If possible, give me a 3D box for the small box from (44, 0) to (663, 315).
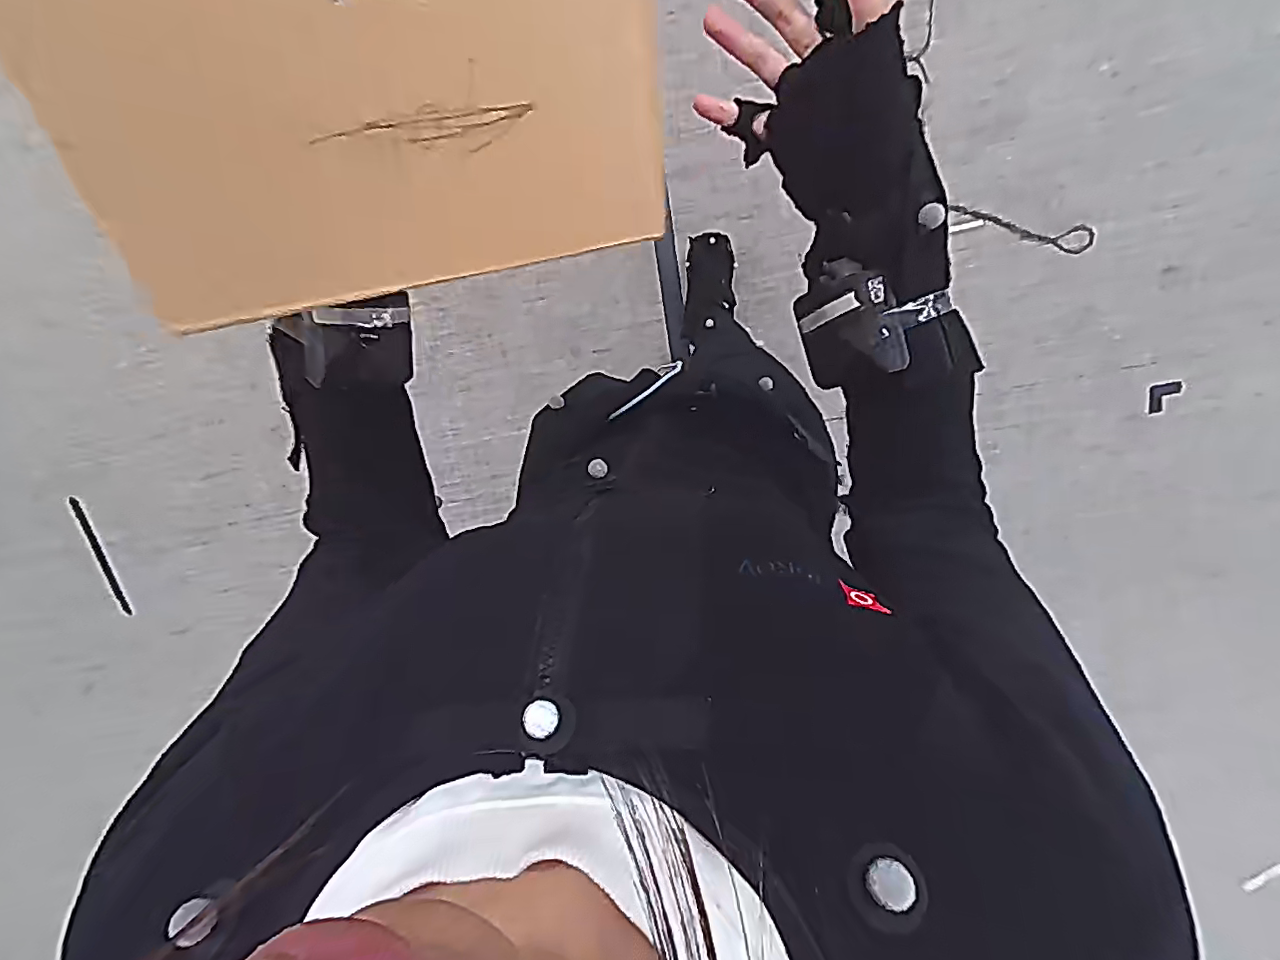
[{"bbox_3d":[-0.106,-0.185,0.202,0.168,0.176,0.179,-21,130,-21],"label":"small box"}]
